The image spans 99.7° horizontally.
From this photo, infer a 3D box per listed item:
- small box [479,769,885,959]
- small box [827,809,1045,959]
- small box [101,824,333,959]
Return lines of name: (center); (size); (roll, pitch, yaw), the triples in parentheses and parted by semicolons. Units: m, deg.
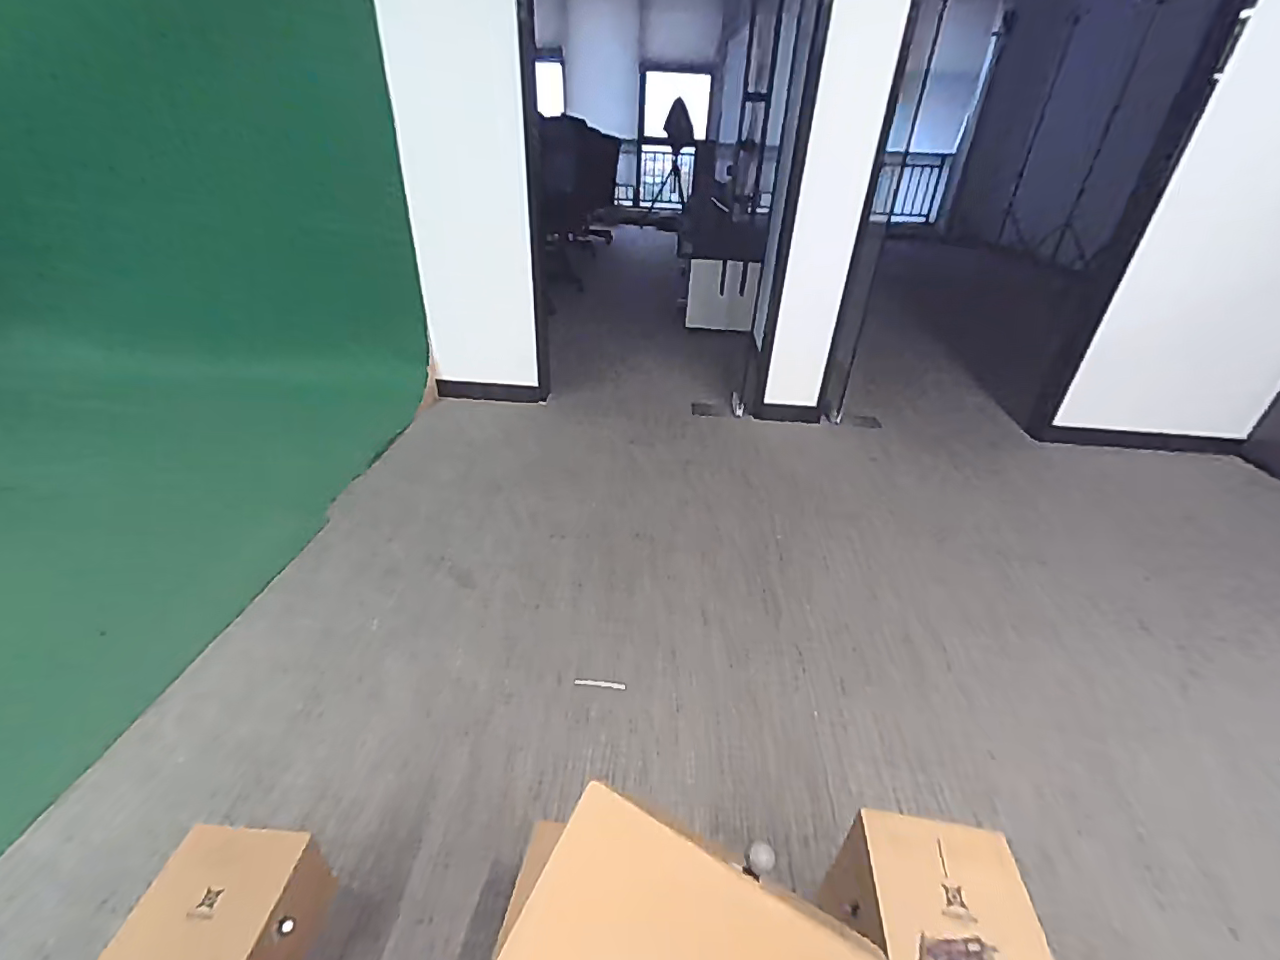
small box: (0.018, 0.299, 0.303); (0.179, 0.176, 0.168); (19, 61, 26)
small box: (0.319, 0.516, 0.607); (0.168, 0.176, 0.179); (7, 31, 6)
small box: (-0.541, 0.598, 0.717); (0.168, 0.176, 0.179); (5, 31, 1)
